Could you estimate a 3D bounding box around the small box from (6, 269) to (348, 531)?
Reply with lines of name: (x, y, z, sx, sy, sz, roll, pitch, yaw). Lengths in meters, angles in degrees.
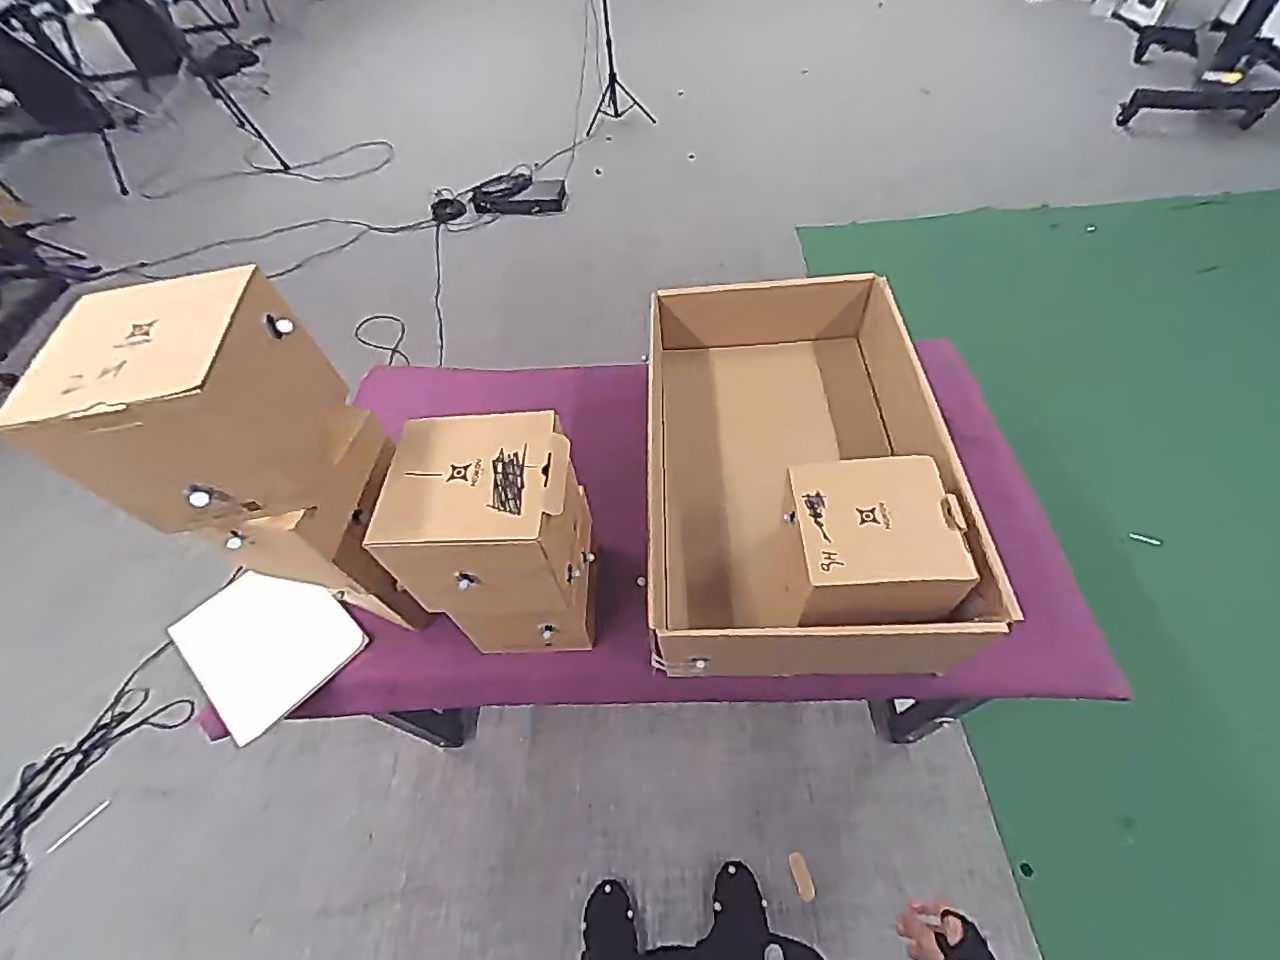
small box: (-0.418, -0.075, 0.534, 0.168, 0.176, 0.179, -11, 54, -1)

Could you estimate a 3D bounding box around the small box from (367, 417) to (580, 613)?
small box: (-0.171, 0.045, 0.625, 0.179, 0.176, 0.168, -2, 53, 4)
